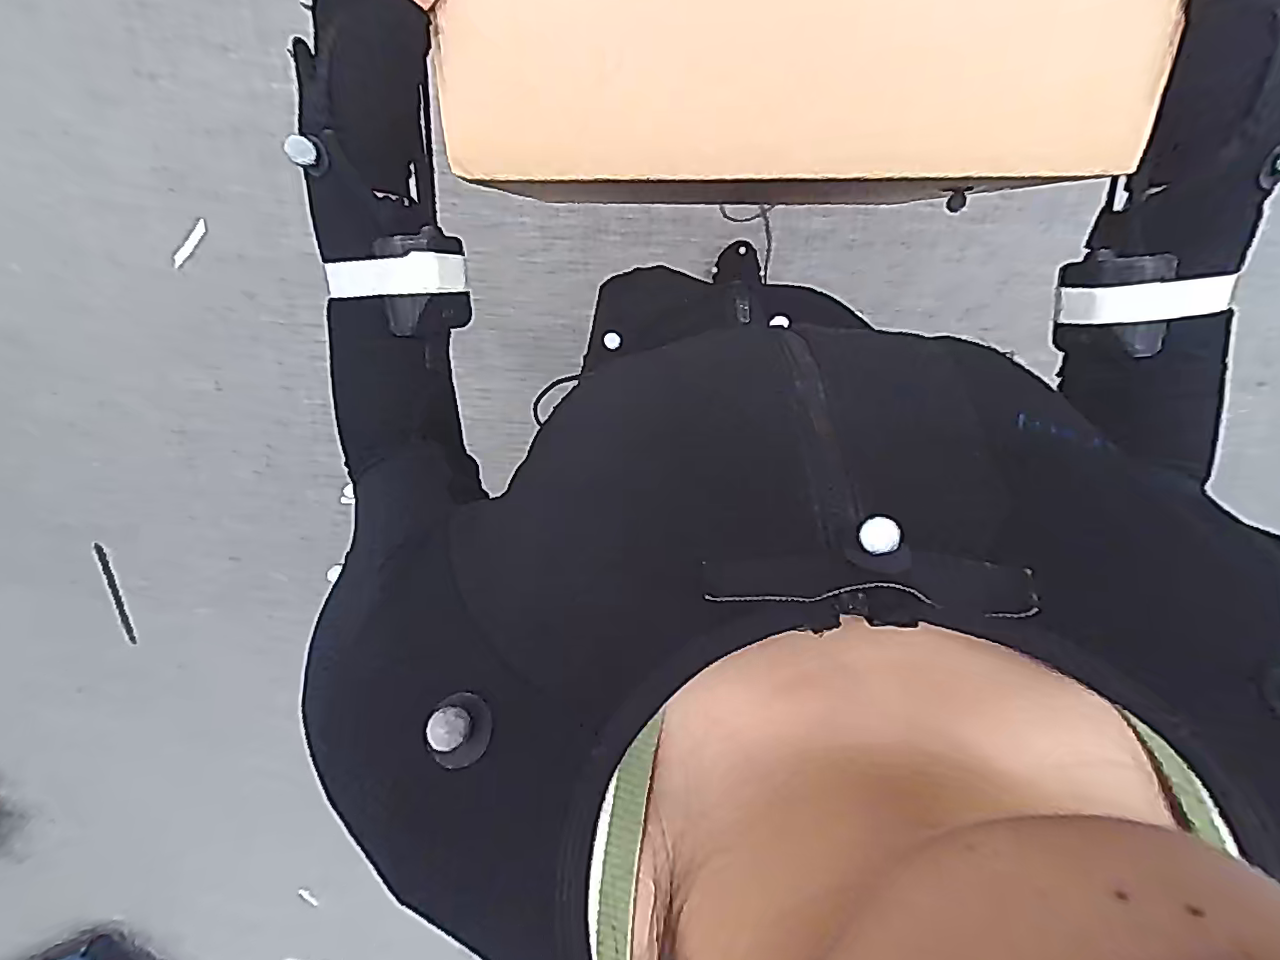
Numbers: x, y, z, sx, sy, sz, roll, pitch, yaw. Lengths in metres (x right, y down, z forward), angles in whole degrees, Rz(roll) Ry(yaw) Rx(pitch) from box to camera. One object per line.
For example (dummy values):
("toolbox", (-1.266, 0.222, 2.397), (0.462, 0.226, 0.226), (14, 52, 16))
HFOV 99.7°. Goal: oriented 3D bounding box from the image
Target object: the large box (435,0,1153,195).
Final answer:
("large box", (0.086, -0.391, 0.401), (0.408, 0.320, 0.320), (0, 115, 0))
